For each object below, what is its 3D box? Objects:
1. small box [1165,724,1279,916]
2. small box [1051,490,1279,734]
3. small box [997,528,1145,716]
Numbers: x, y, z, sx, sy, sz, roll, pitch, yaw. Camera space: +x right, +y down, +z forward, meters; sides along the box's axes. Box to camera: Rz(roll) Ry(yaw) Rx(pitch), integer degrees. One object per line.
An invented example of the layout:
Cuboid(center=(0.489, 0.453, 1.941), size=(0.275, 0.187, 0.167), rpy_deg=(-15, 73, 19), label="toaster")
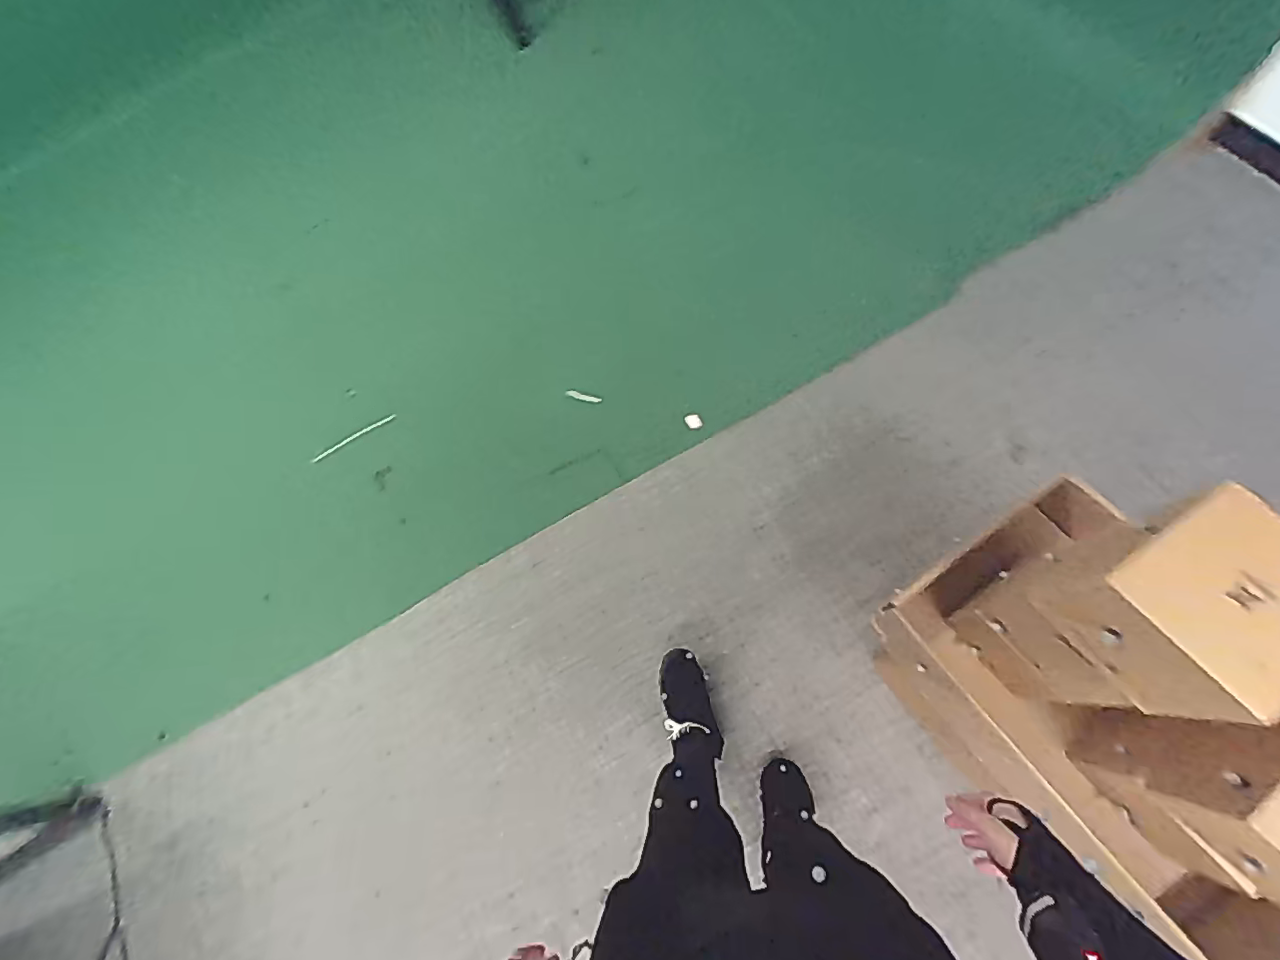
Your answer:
Cuboid(center=(0.783, 0.405, 0.627), size=(0.179, 0.176, 0.168), rpy_deg=(-42, 69, -5), label="small box")
Cuboid(center=(0.596, 0.146, 0.582), size=(0.179, 0.176, 0.168), rpy_deg=(-35, 67, -4), label="small box")
Cuboid(center=(0.628, 0.197, 0.733), size=(0.179, 0.176, 0.168), rpy_deg=(-33, 67, -4), label="small box")
